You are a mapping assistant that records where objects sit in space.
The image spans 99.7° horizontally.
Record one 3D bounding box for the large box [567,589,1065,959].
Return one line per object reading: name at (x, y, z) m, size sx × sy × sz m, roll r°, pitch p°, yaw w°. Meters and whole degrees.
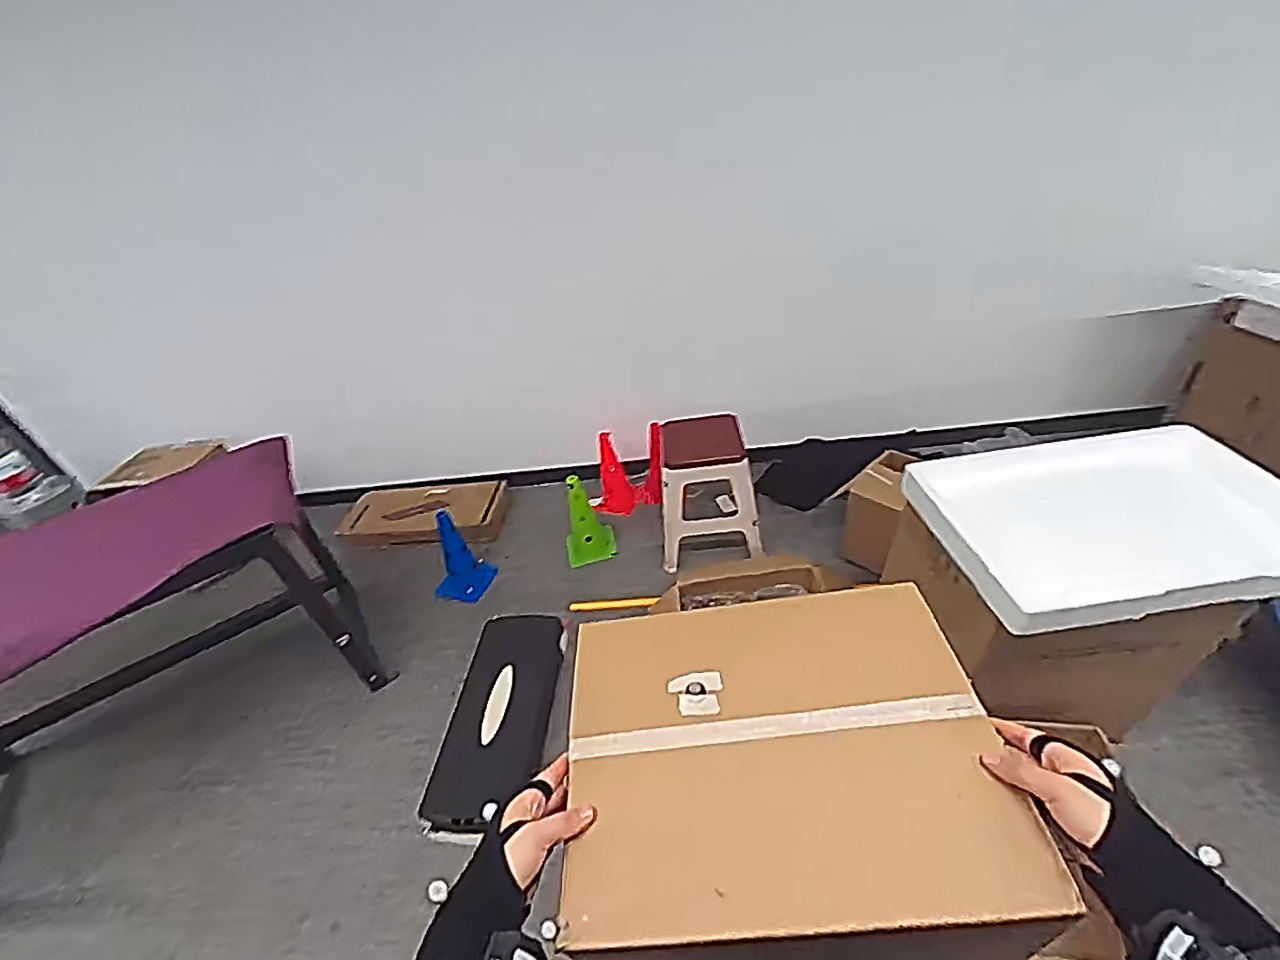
large box at (0.155, 0.372, 0.635) m, size 0.408 × 0.320 × 0.320 m, roll -10°, pitch 38°, yaw 5°
